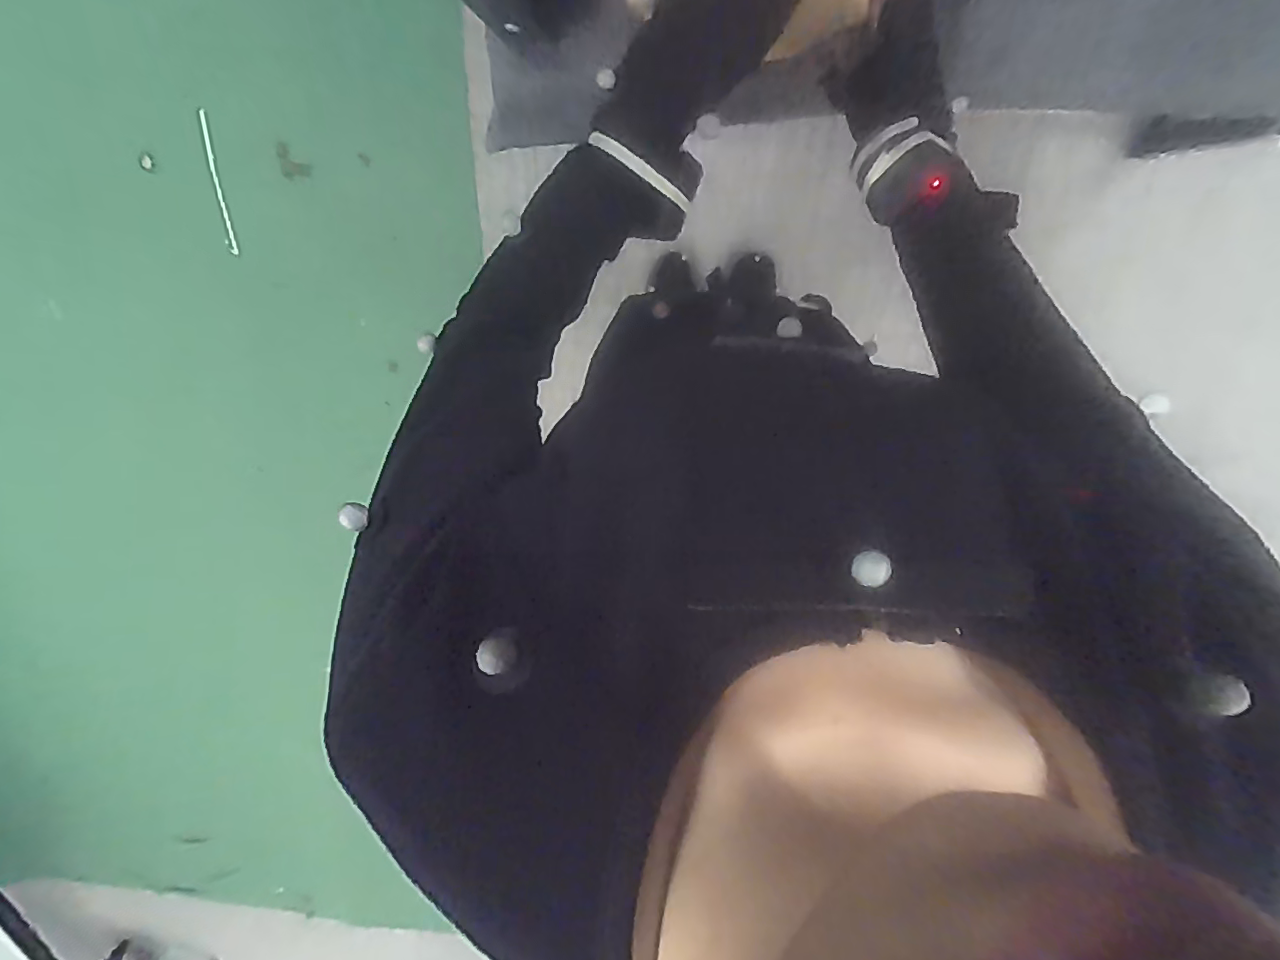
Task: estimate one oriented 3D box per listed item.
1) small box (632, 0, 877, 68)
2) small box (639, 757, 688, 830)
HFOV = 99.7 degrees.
[{"bbox_3d":[0.099,-0.460,0.420,0.168,0.176,0.179,13,114,26],"label":"small box"},{"bbox_3d":[0.089,1.137,1.971,0.168,0.176,0.179,-3,114,8],"label":"small box"}]
